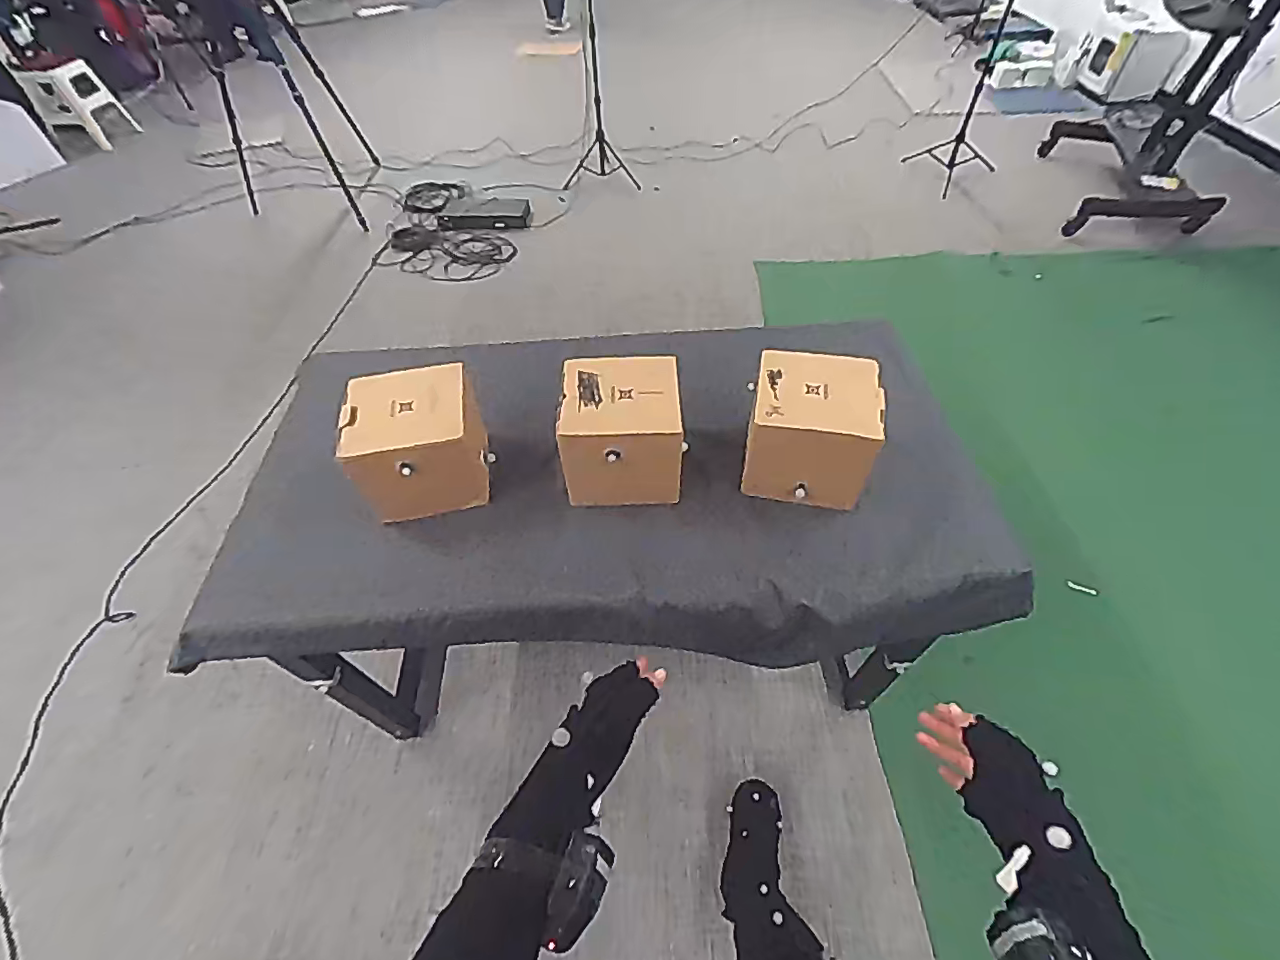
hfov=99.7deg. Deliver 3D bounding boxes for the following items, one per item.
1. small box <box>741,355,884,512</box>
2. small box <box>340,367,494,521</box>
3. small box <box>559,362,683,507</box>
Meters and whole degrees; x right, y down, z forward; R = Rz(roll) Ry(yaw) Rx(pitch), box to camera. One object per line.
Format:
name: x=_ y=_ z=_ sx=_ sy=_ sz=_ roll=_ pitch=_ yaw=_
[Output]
small box: x=0.263 y=-0.068 z=0.848 sx=0.179 sy=0.176 sz=0.168 roll=9 pitch=53 yaw=9
small box: x=-0.341 y=-0.052 z=0.859 sx=0.179 sy=0.176 sz=0.168 roll=-10 pitch=53 yaw=-7
small box: x=-0.024 y=-0.068 z=0.858 sx=0.179 sy=0.176 sz=0.168 roll=-1 pitch=52 yaw=0
